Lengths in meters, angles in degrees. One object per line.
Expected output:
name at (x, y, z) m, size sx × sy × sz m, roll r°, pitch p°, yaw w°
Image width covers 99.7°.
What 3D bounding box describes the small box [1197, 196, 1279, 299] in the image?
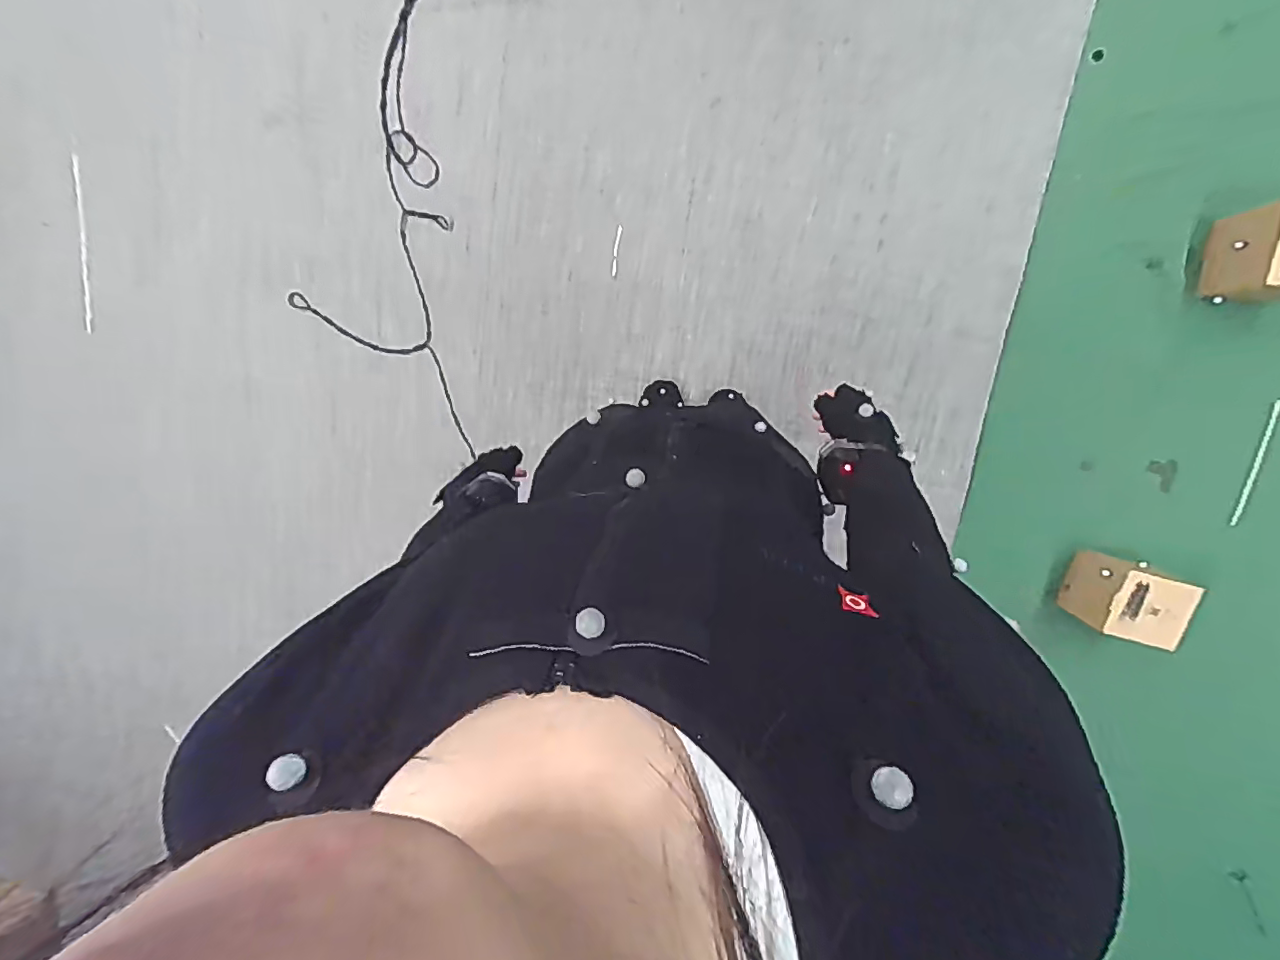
small box at (1.384, -0.499, 1.174) m, size 0.168 × 0.176 × 0.179 m, roll 6°, pitch 100°, yaw 4°
